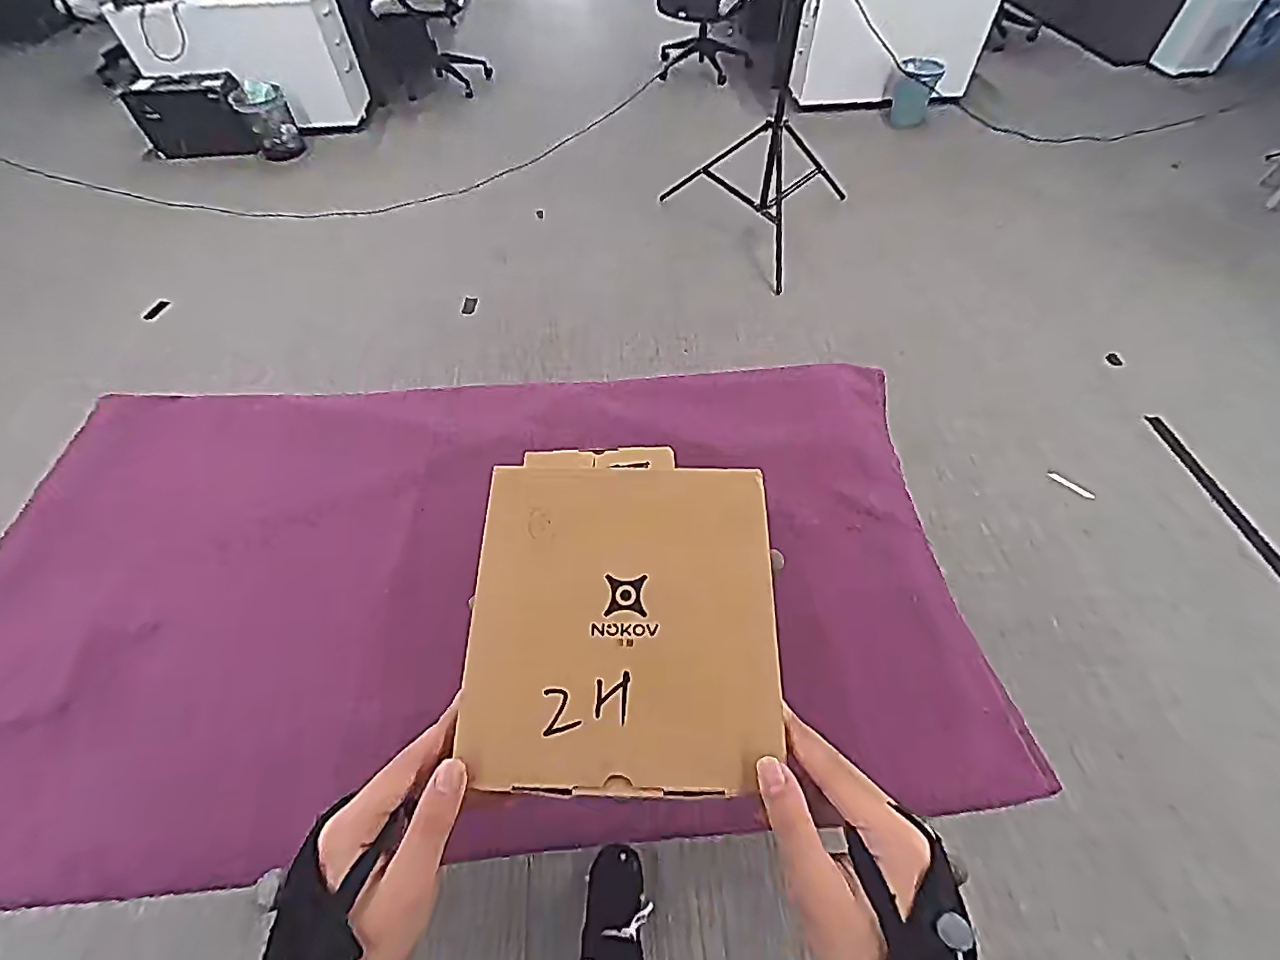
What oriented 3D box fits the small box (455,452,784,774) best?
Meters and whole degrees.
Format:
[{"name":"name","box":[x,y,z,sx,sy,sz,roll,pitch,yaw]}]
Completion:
[{"name":"small box","box":[-0.007,0.097,0.372,0.168,0.176,0.179,1,65,2]}]
